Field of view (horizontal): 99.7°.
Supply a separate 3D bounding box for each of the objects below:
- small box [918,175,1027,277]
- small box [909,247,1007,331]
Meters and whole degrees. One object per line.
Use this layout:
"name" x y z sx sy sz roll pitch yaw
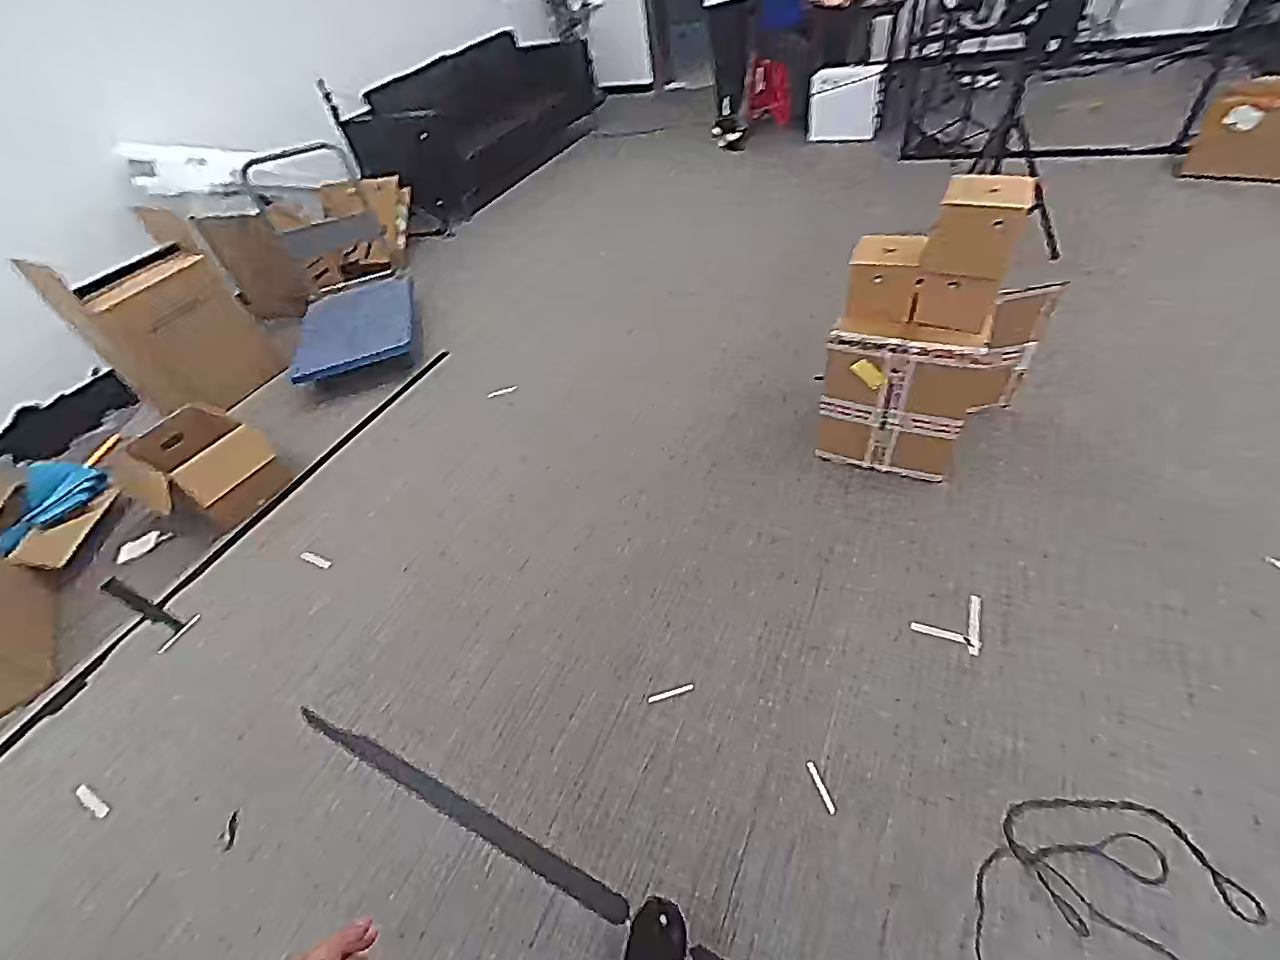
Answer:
"small box" 0.800 -0.612 1.308 0.179 0.176 0.168 17 54 24
"small box" 0.840 -0.520 1.441 0.179 0.176 0.168 20 56 26
